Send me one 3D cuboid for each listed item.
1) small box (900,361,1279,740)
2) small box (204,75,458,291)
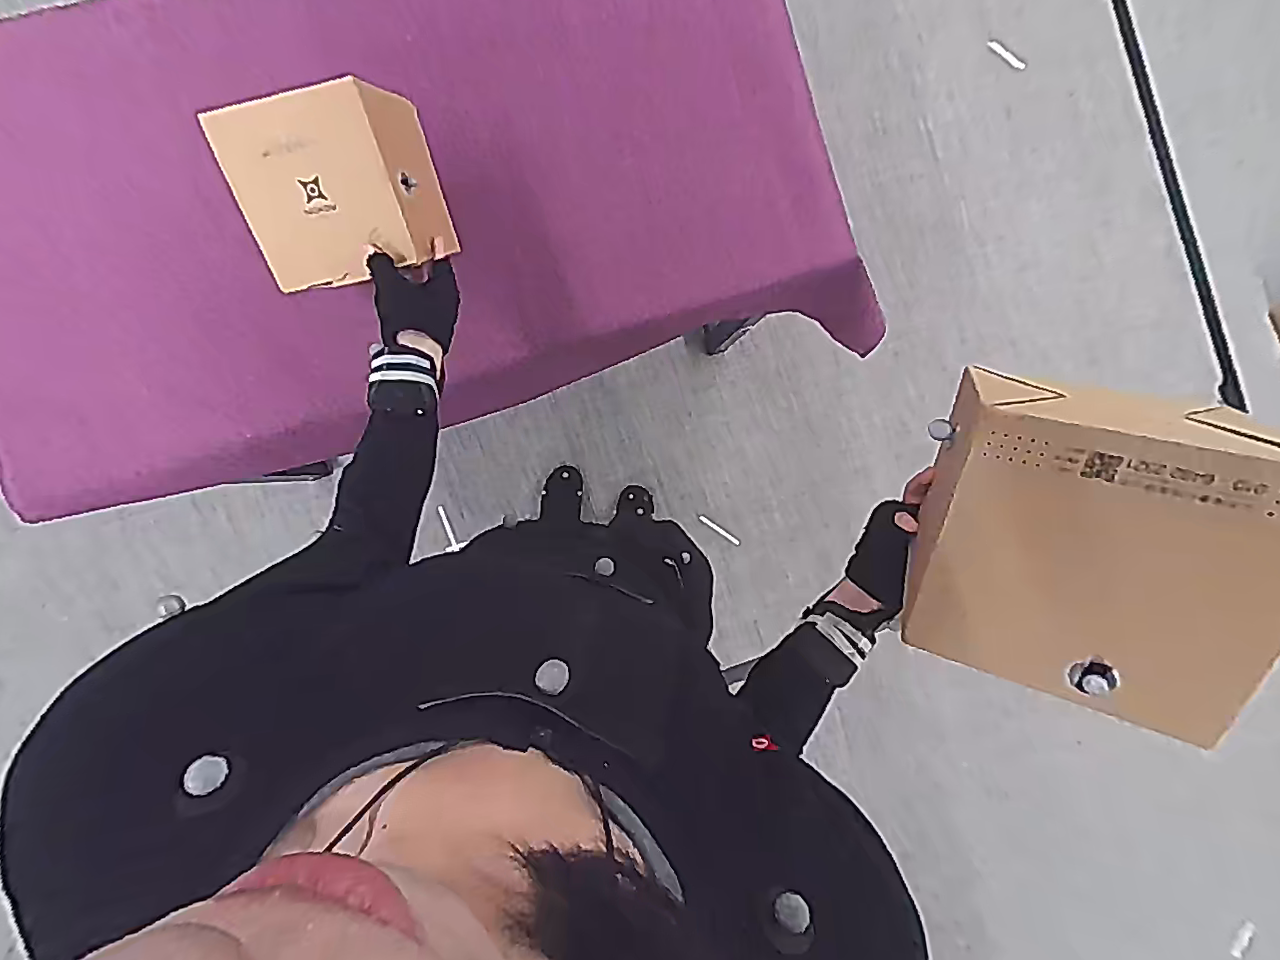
[{"bbox_3d":[0.289,0.021,0.363,0.168,0.179,0.176,16,116,24],"label":"small box"},{"bbox_3d":[-0.338,-0.340,0.638,0.168,0.176,0.179,-11,116,5],"label":"small box"}]
